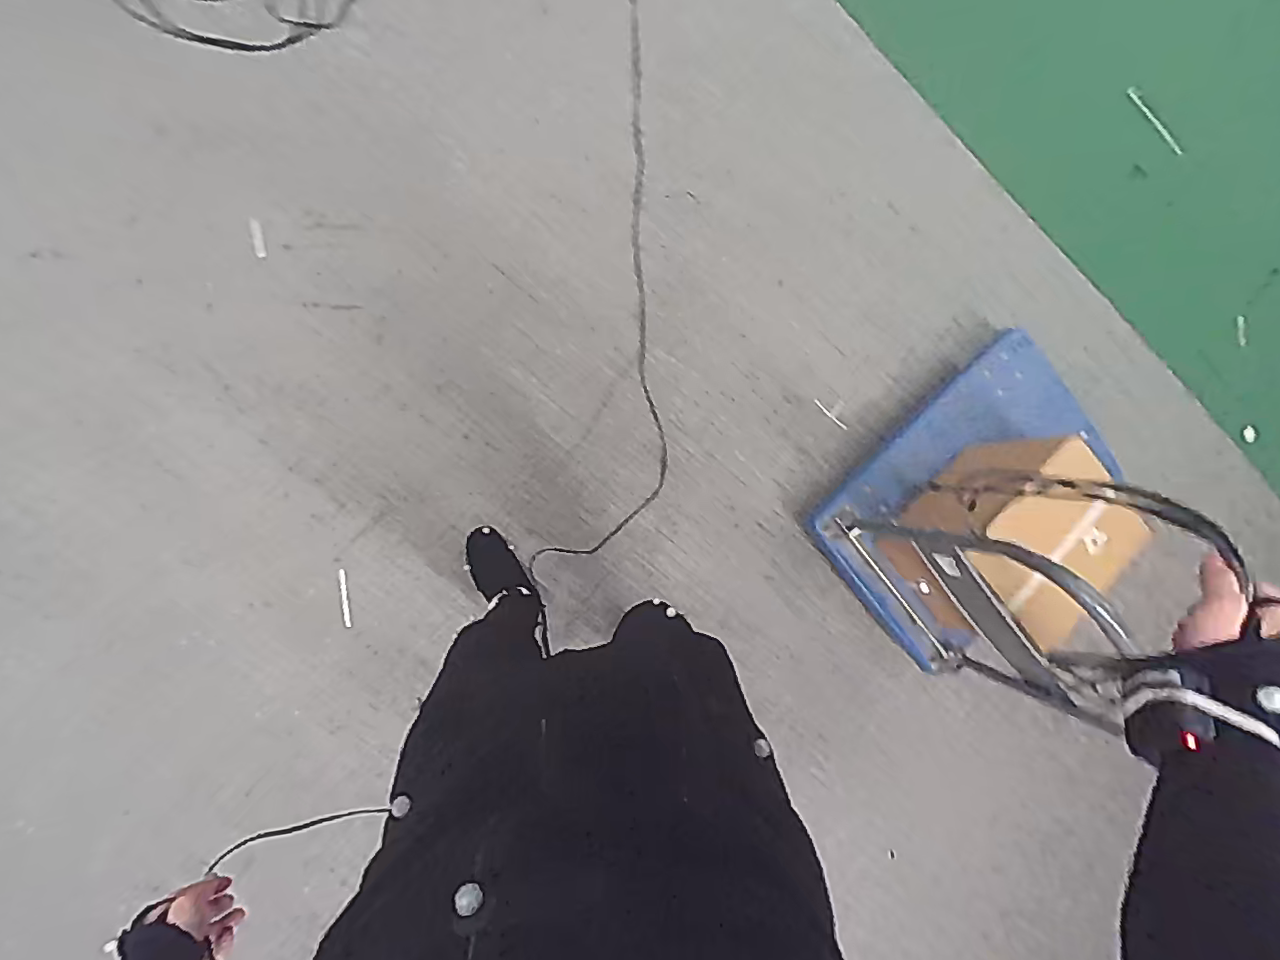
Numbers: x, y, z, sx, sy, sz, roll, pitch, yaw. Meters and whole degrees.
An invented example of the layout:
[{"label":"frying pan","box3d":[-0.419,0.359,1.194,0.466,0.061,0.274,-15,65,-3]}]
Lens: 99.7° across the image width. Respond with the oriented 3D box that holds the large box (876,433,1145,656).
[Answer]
[{"label":"large box","box3d":[0.883,0.146,1.327,0.408,0.320,0.320,-42,97,-10]}]
